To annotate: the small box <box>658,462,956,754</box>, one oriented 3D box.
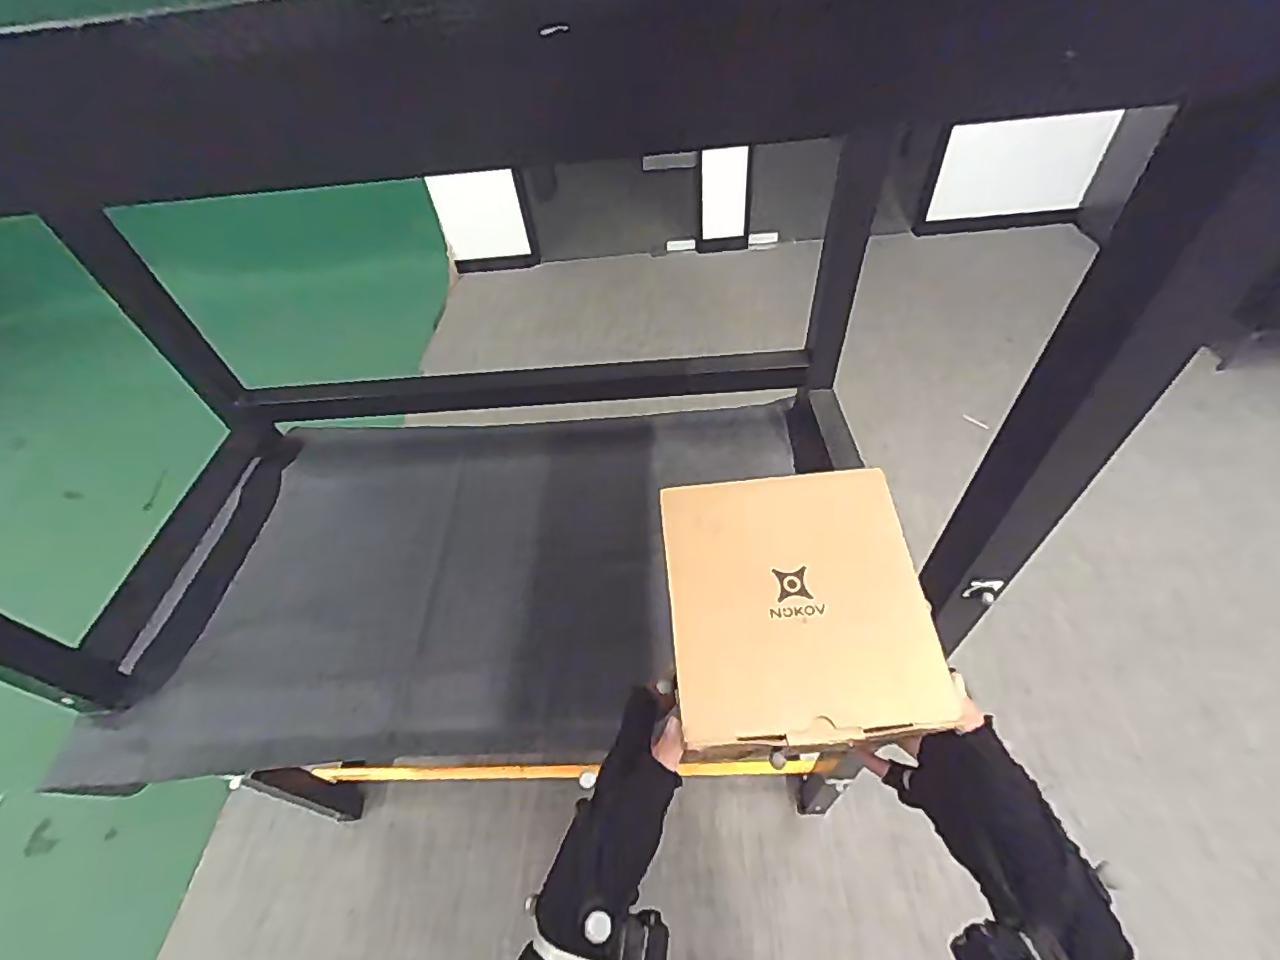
[{"bbox_3d":[0.103,0.108,0.425,0.168,0.176,0.179,-6,60,2],"label":"small box"}]
